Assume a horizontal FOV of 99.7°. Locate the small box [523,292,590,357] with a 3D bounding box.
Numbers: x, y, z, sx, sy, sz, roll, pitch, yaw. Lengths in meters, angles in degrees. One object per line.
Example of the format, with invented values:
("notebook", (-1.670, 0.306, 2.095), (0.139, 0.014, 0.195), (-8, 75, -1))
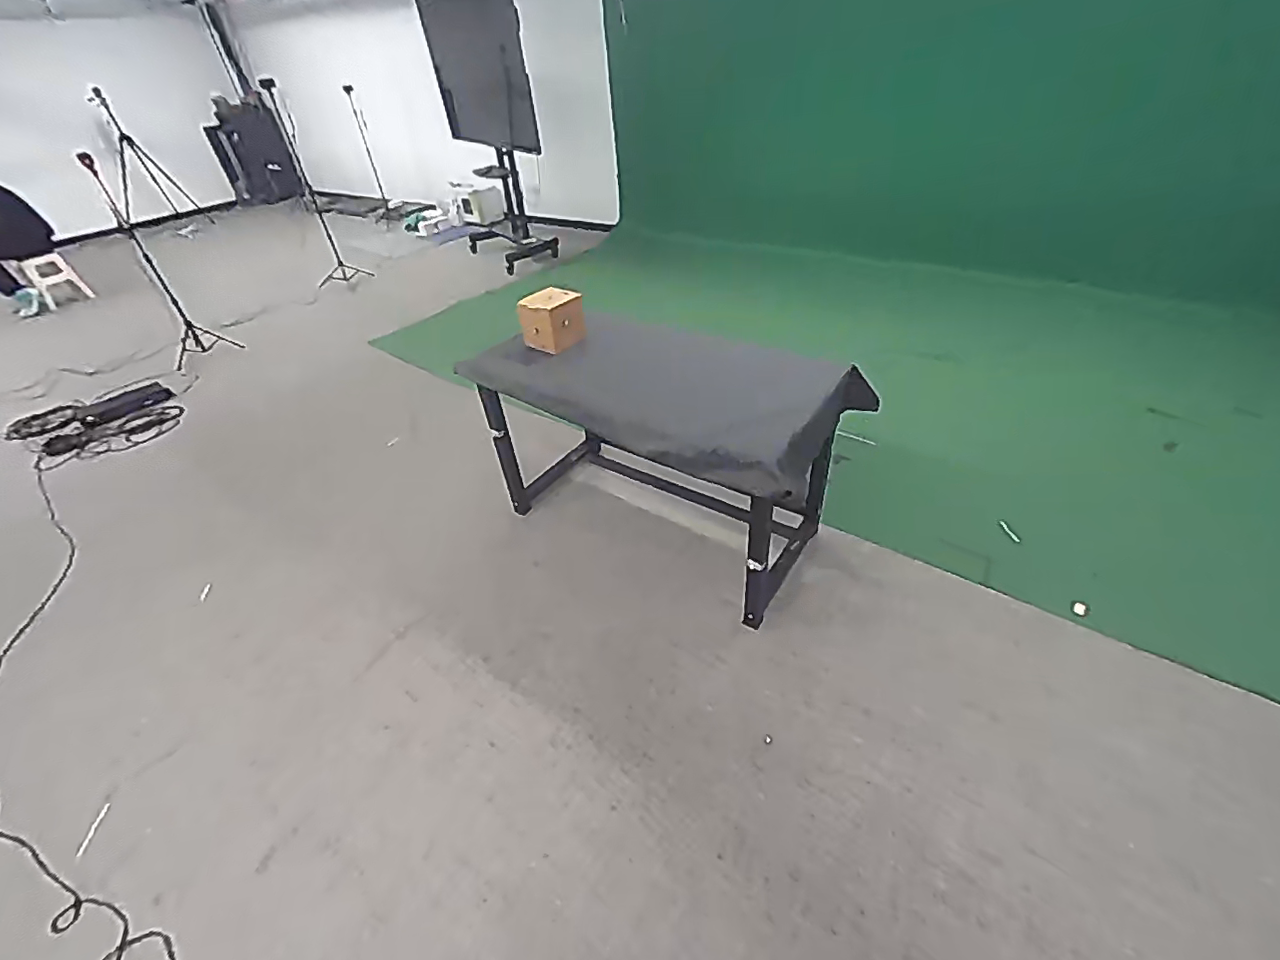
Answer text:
("small box", (-0.303, -0.577, 2.010), (0.168, 0.176, 0.179), (24, 47, 31))
